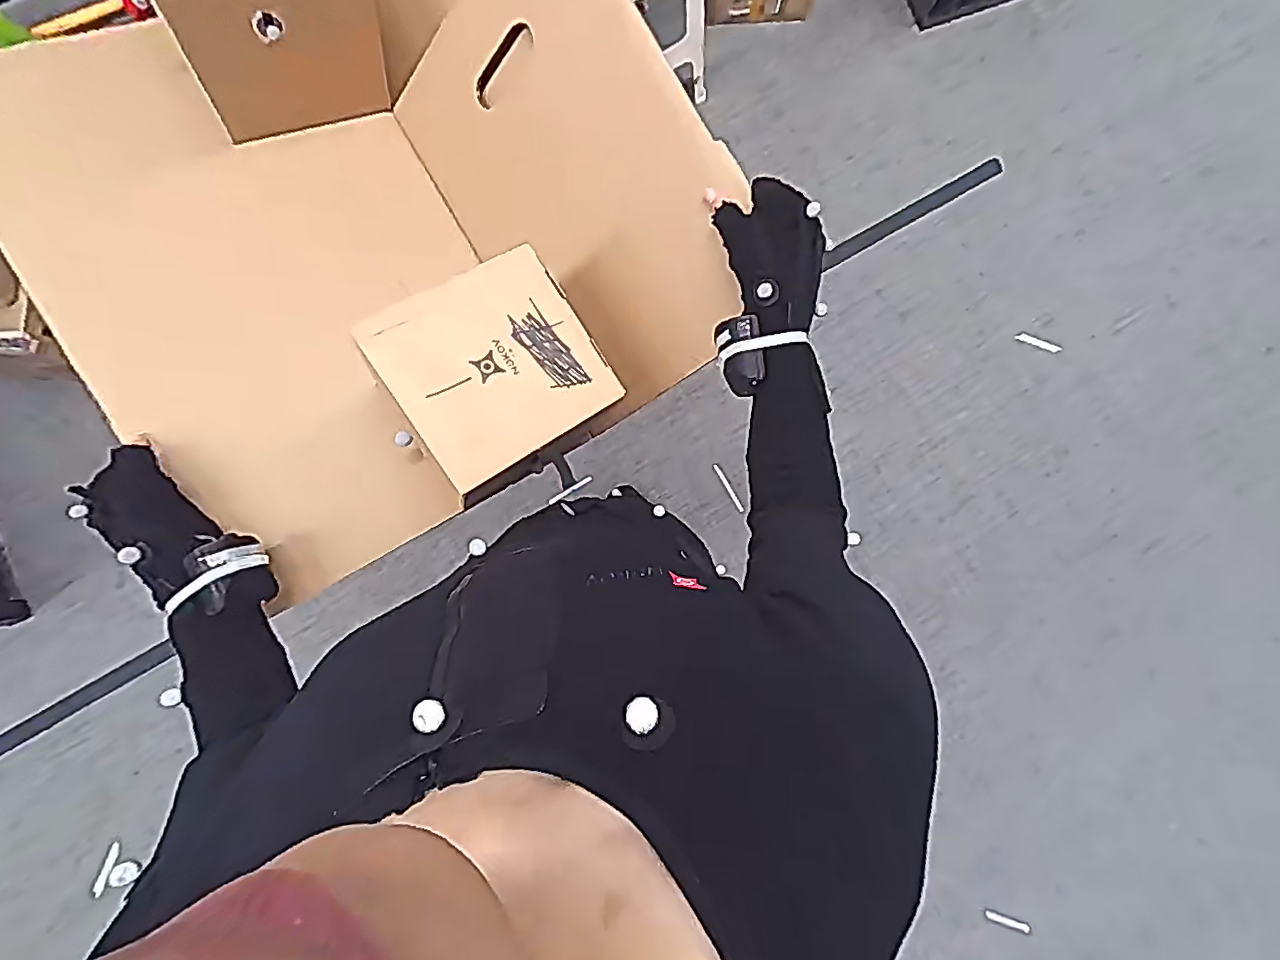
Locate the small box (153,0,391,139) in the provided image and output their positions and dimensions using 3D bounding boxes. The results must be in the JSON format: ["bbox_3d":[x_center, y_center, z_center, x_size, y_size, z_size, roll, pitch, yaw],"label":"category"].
[{"bbox_3d":[-0.371,-0.476,0.530,0.179,0.176,0.168,-28,91,-20],"label":"small box"}]

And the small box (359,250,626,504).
[{"bbox_3d":[-0.146,-0.090,0.548,0.179,0.176,0.168,-34,94,-18],"label":"small box"}]
